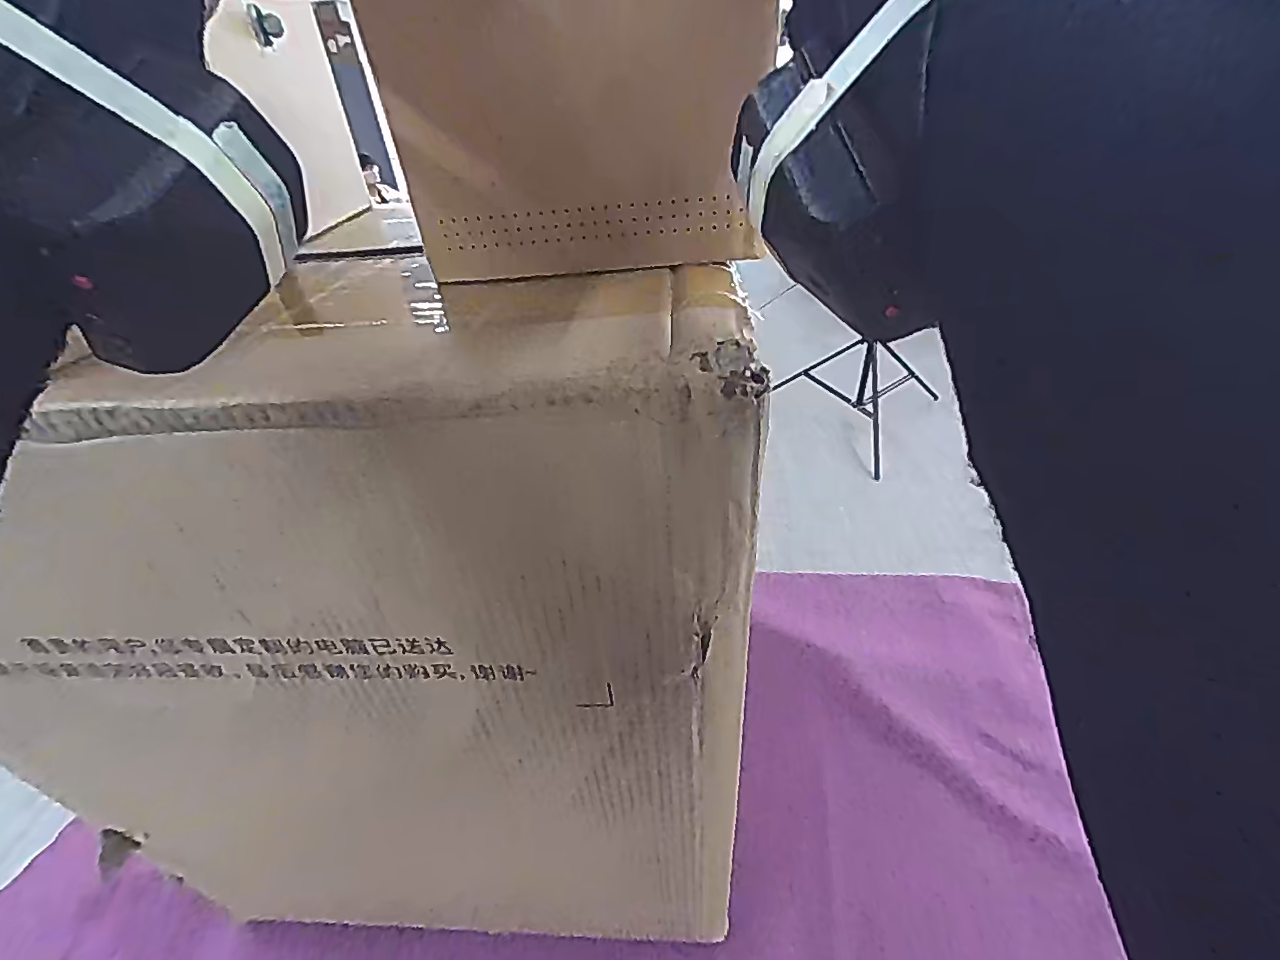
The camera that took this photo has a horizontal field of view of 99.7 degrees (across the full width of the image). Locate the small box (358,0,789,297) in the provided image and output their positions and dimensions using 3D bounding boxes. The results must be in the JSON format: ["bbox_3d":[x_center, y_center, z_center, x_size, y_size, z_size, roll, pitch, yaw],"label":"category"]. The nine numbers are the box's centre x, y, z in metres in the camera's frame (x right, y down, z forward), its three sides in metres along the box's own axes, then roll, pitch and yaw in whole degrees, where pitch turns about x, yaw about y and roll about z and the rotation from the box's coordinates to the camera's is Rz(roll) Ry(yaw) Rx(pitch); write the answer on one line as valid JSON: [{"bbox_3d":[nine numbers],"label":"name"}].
[{"bbox_3d":[-0.018,-0.211,0.294,0.179,0.176,0.168,-2,37,7],"label":"small box"}]
